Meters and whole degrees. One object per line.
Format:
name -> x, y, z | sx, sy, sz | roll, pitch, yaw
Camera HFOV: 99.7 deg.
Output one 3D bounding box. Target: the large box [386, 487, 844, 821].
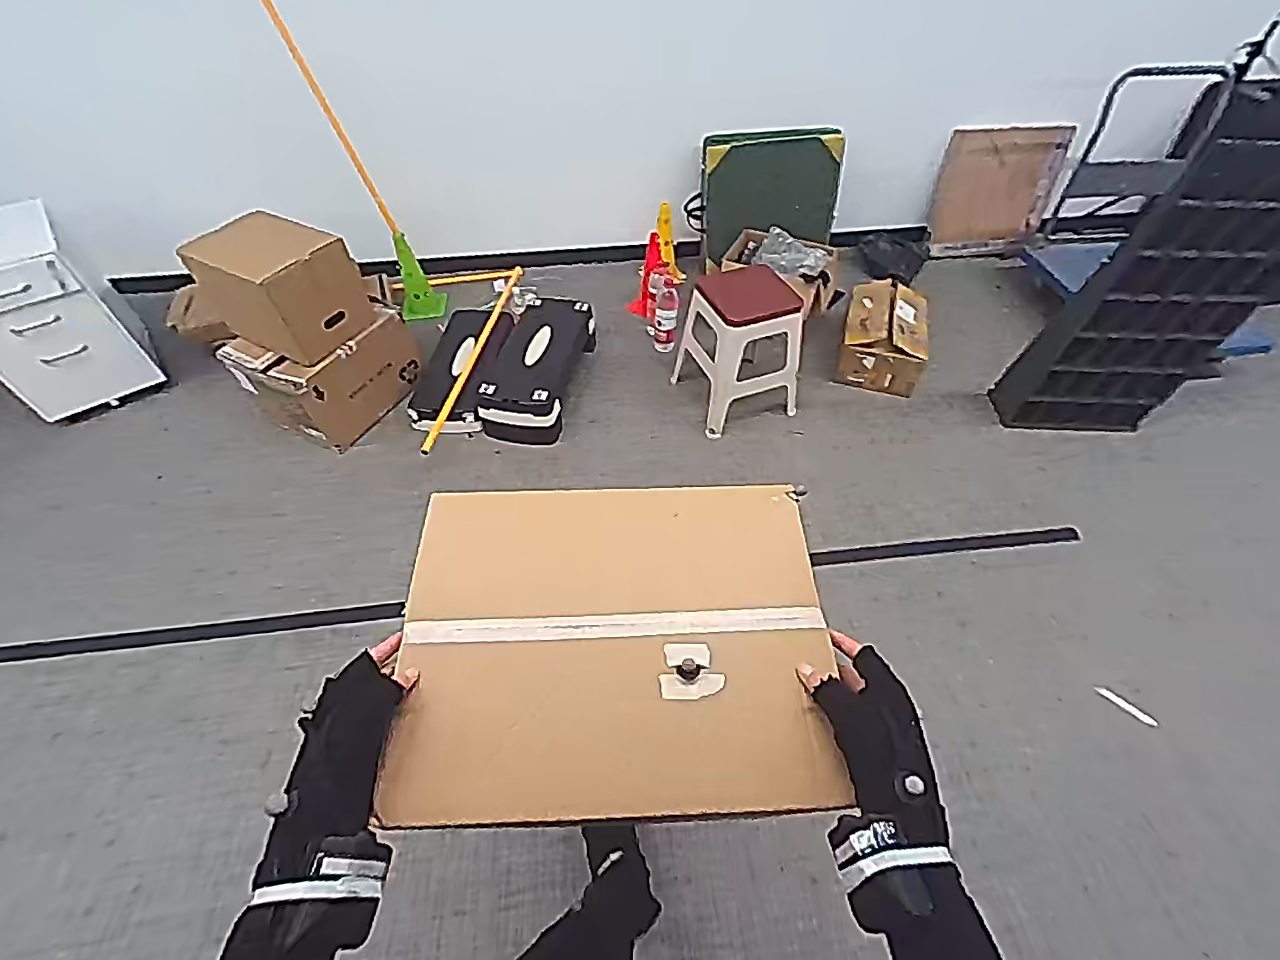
large box -> -0.029, 0.223, 0.666 | 0.408, 0.320, 0.320 | -1, 57, -2
